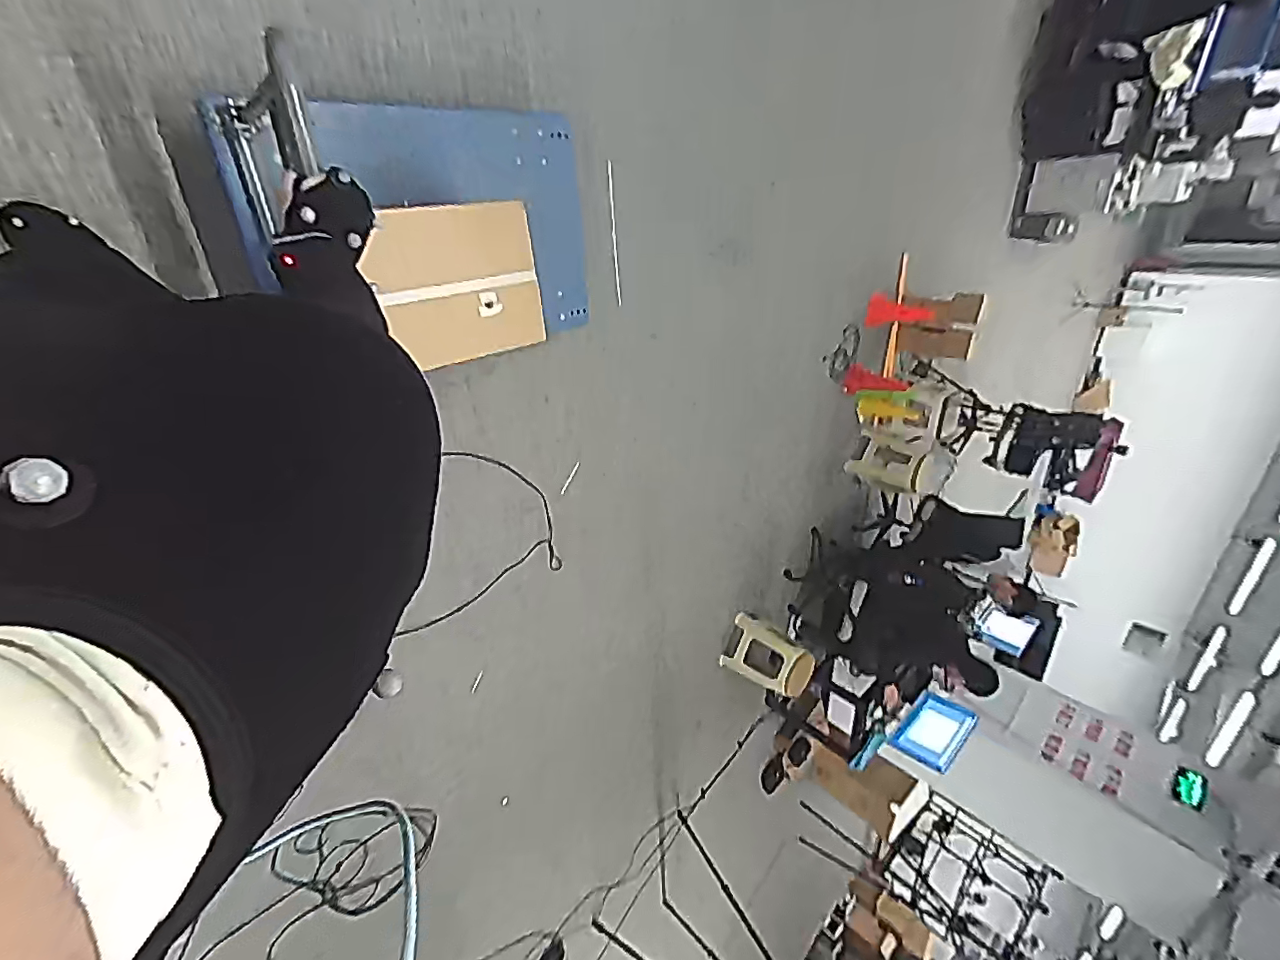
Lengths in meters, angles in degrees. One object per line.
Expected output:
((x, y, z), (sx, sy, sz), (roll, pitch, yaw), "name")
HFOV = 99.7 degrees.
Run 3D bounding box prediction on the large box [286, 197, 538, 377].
((-0.509, -0.457, 1.248), (0.408, 0.320, 0.320), (-27, 125, -36), "large box")
